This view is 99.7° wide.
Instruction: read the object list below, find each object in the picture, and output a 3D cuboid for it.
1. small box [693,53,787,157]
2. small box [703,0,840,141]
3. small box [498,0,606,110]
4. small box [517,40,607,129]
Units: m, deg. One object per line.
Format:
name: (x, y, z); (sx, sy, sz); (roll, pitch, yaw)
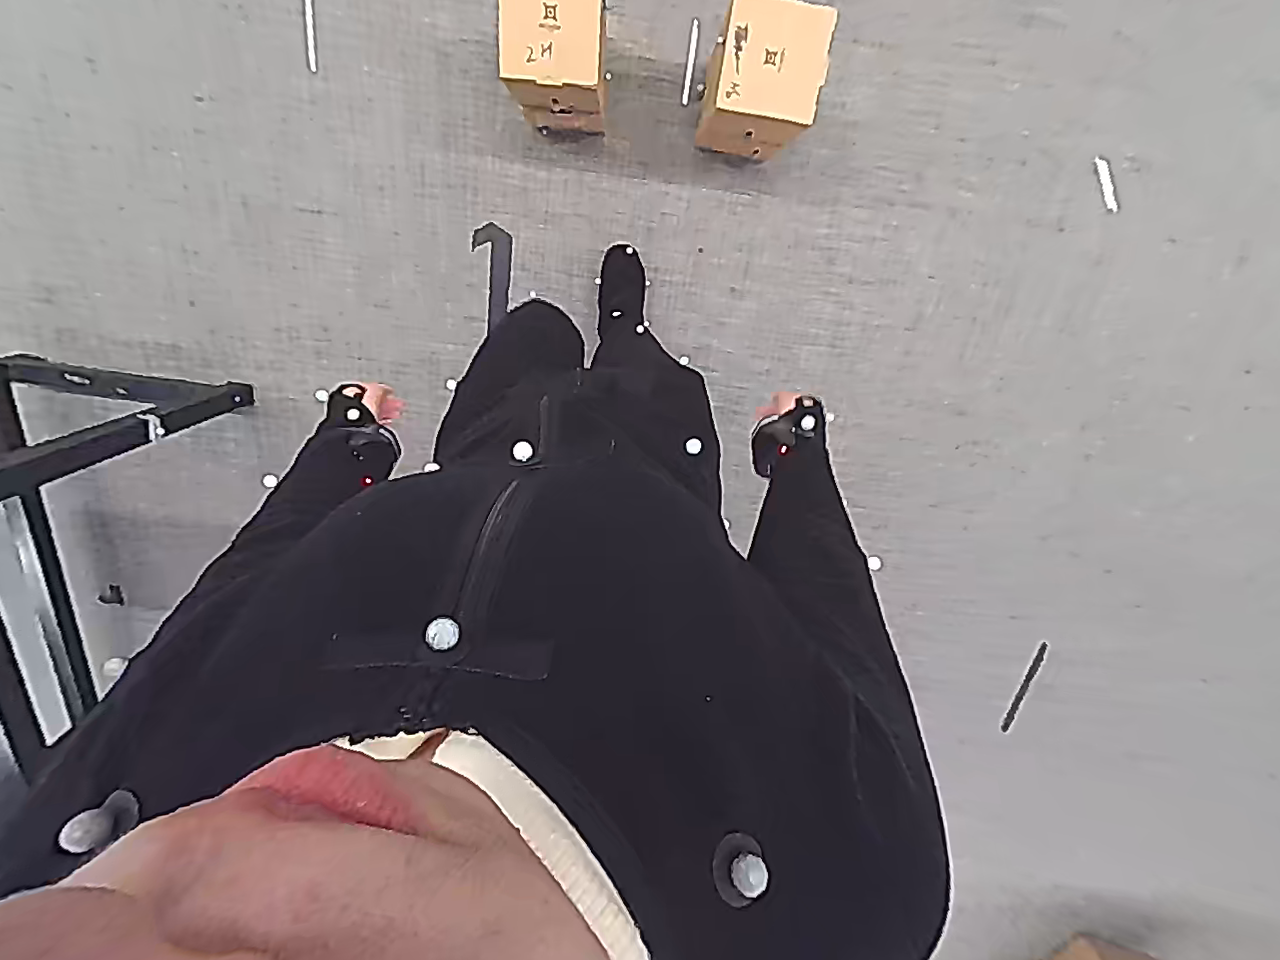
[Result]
small box: (0.219, -0.786, 1.119); (0.179, 0.176, 0.168); (10, 112, -5)
small box: (0.222, -0.726, 0.967); (0.179, 0.176, 0.168); (8, 111, -5)
small box: (-0.147, -0.772, 0.935); (0.168, 0.176, 0.179); (4, 113, -3)
small box: (-0.153, -0.828, 1.090); (0.168, 0.176, 0.179); (2, 112, -2)
